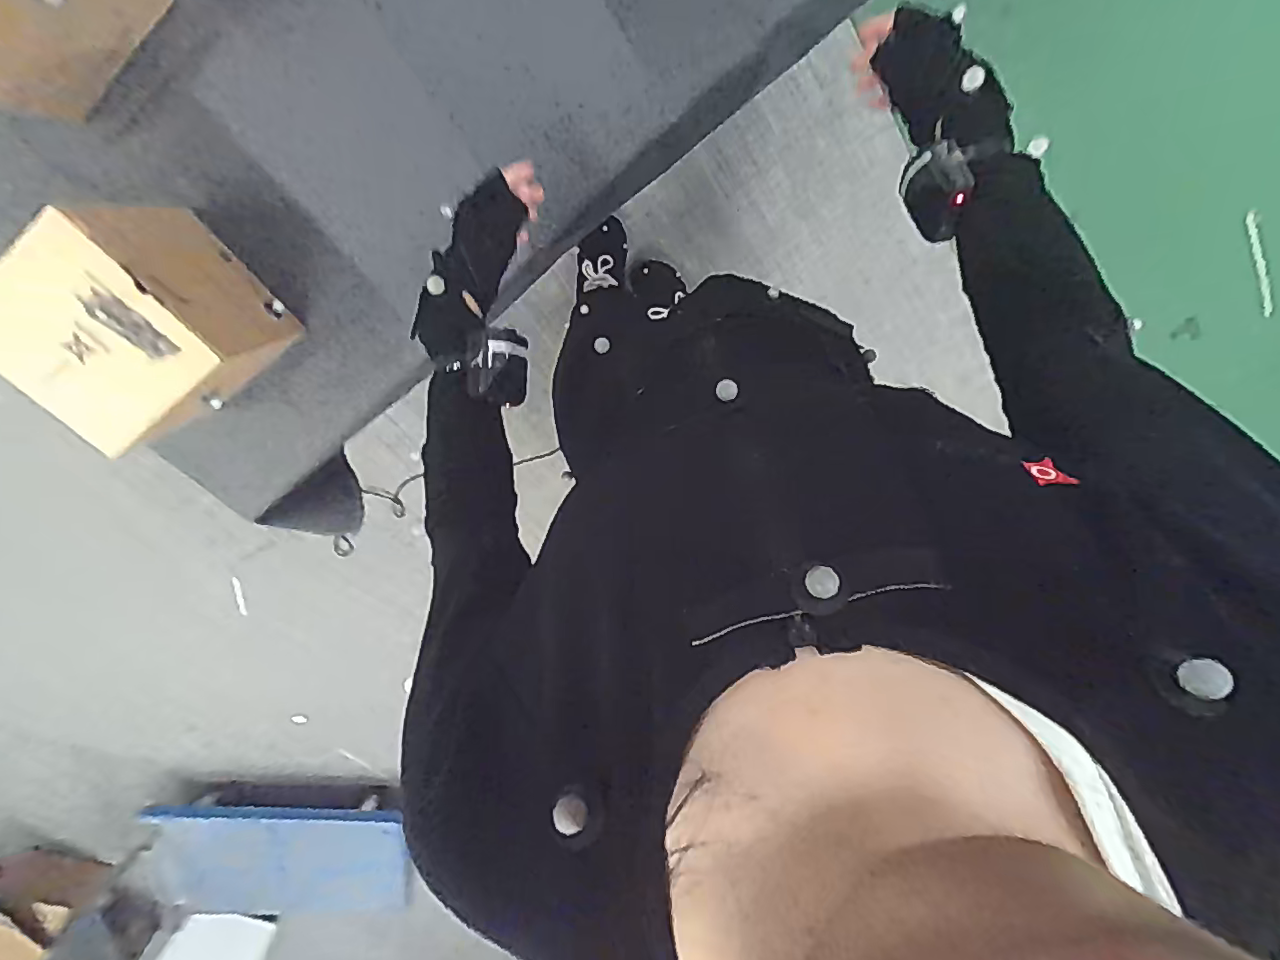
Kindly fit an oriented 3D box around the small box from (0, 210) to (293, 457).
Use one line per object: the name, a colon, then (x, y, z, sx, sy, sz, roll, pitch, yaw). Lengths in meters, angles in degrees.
small box: (-0.515, -0.161, 0.575, 0.179, 0.176, 0.168, -34, 112, 12)
